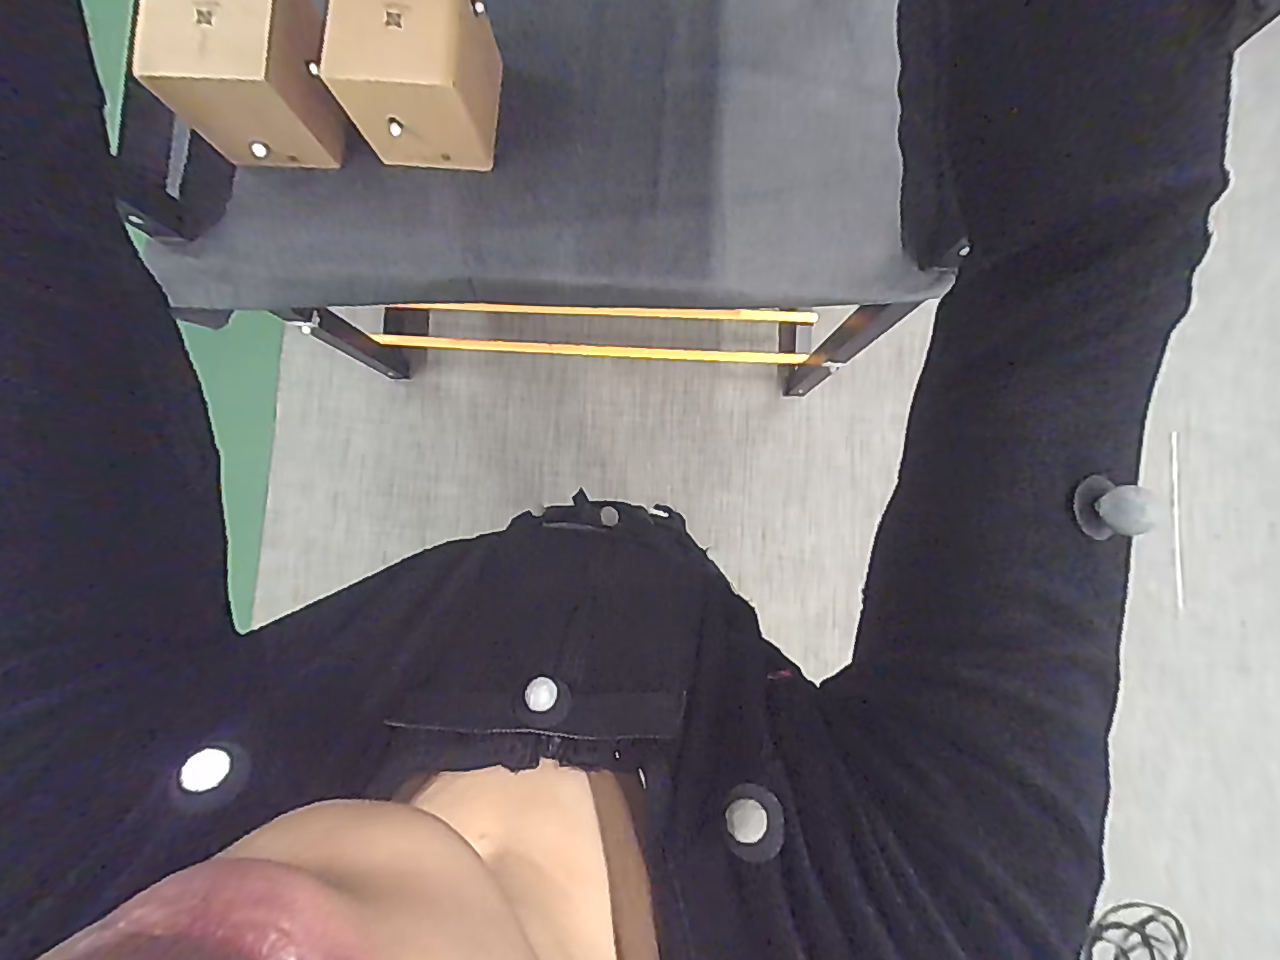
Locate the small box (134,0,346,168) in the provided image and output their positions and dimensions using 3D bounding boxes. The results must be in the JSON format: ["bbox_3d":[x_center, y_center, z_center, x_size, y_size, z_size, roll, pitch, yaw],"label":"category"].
[{"bbox_3d":[-0.528,-0.569,0.742,0.168,0.176,0.179,3,86,0],"label":"small box"}]

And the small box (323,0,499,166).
[{"bbox_3d":[-0.300,-0.566,0.744,0.168,0.176,0.179,4,85,0],"label":"small box"}]
